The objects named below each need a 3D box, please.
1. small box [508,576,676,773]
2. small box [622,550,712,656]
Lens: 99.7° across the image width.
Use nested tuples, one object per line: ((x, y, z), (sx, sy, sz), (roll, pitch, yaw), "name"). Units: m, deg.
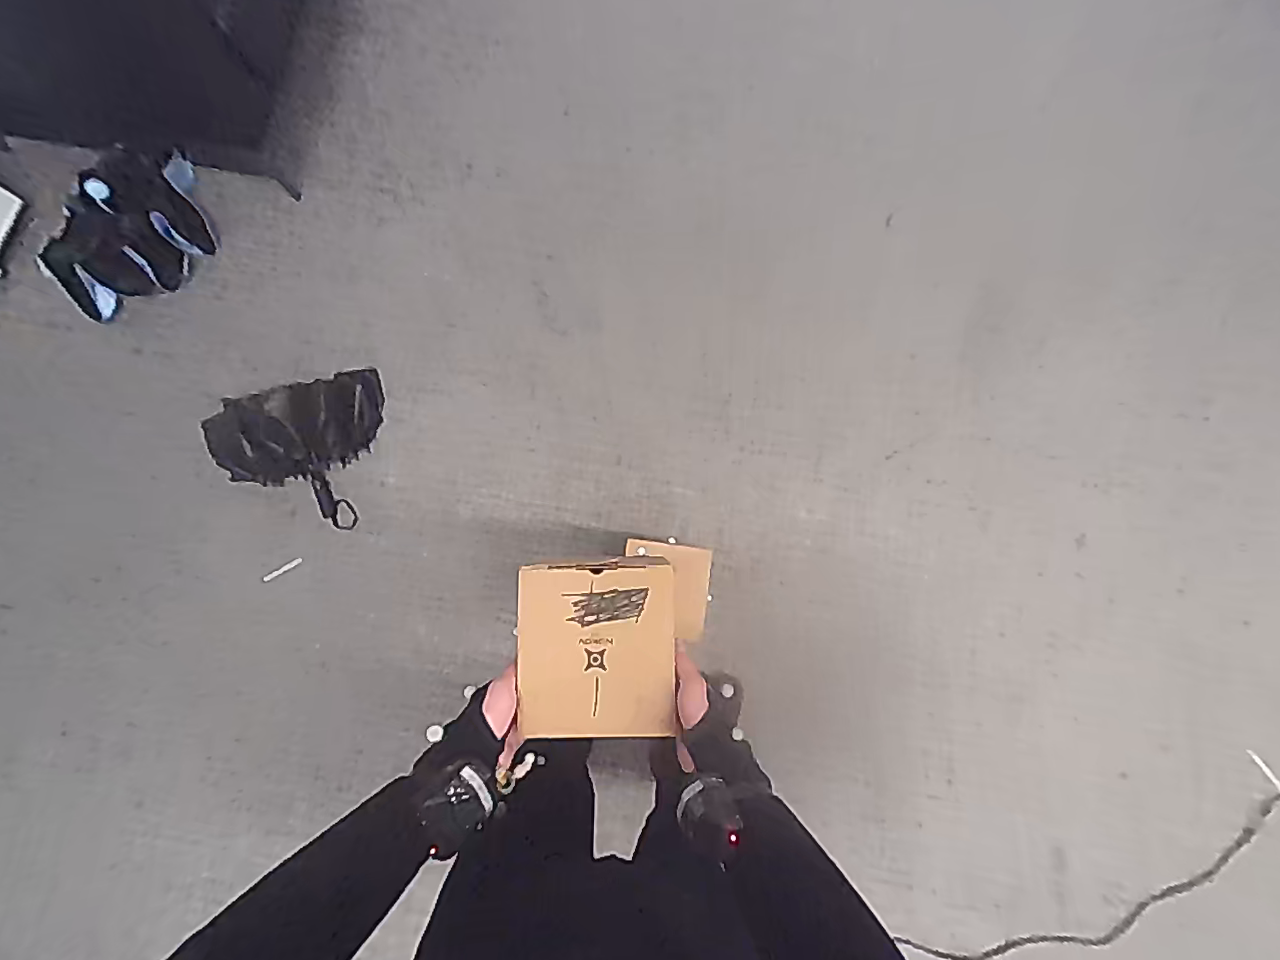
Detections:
((-0.049, 0.202, 0.610), (0.168, 0.176, 0.179), (-1, 87, -1), "small box")
((0.042, 0.237, 1.068), (0.168, 0.176, 0.179), (7, 81, 0), "small box")
